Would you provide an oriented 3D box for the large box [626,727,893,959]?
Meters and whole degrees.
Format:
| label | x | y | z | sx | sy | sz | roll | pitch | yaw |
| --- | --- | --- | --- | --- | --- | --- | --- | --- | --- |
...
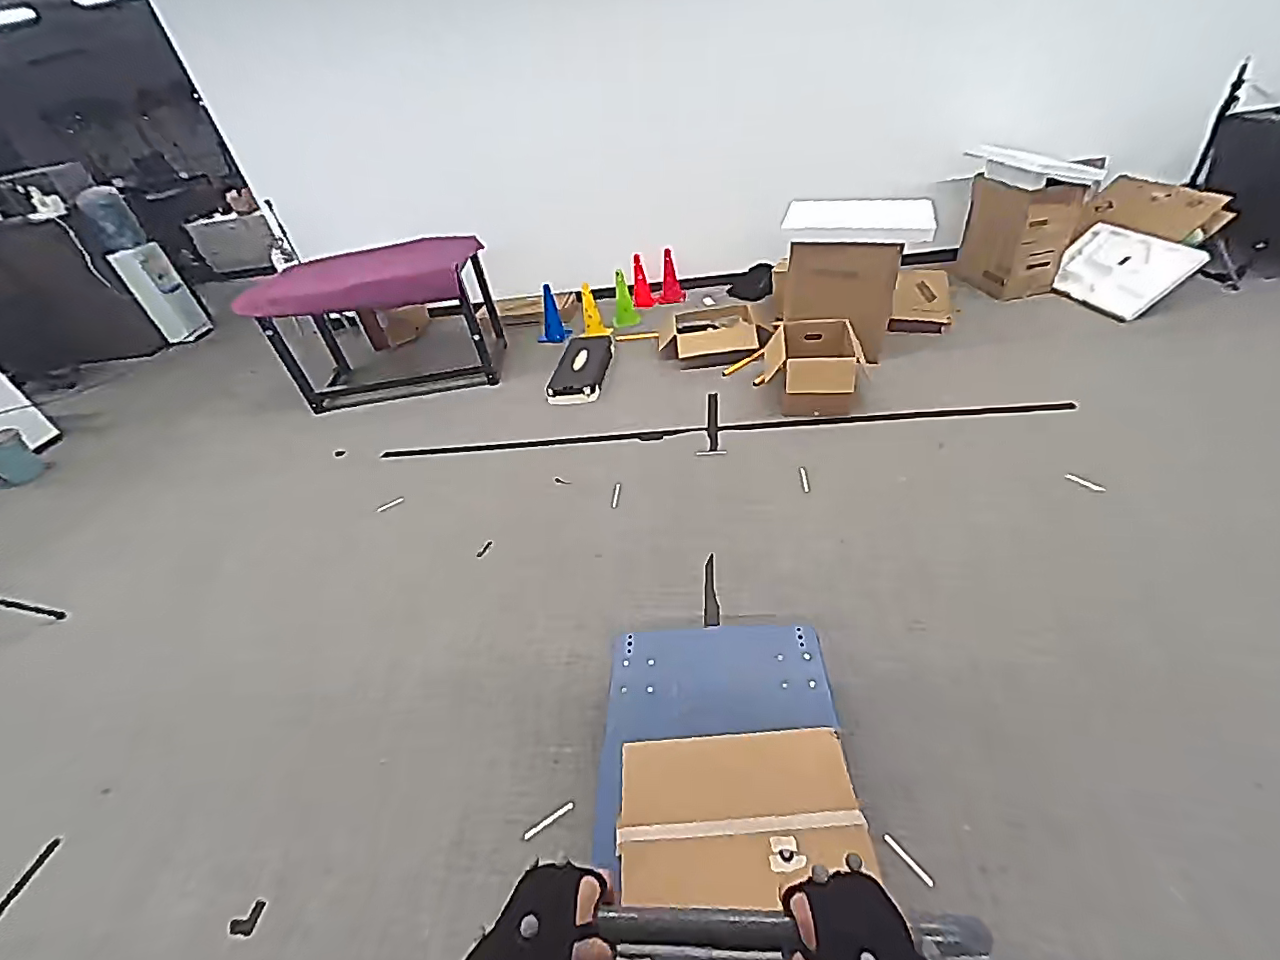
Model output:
| label | x | y | z | sx | sy | sz | roll | pitch | yaw |
| --- | --- | --- | --- | --- | --- | --- | --- | --- | --- |
| large box | 0.190 | 0.703 | 1.012 | 0.408 | 0.320 | 0.320 | -6 | 39 | 3 |
